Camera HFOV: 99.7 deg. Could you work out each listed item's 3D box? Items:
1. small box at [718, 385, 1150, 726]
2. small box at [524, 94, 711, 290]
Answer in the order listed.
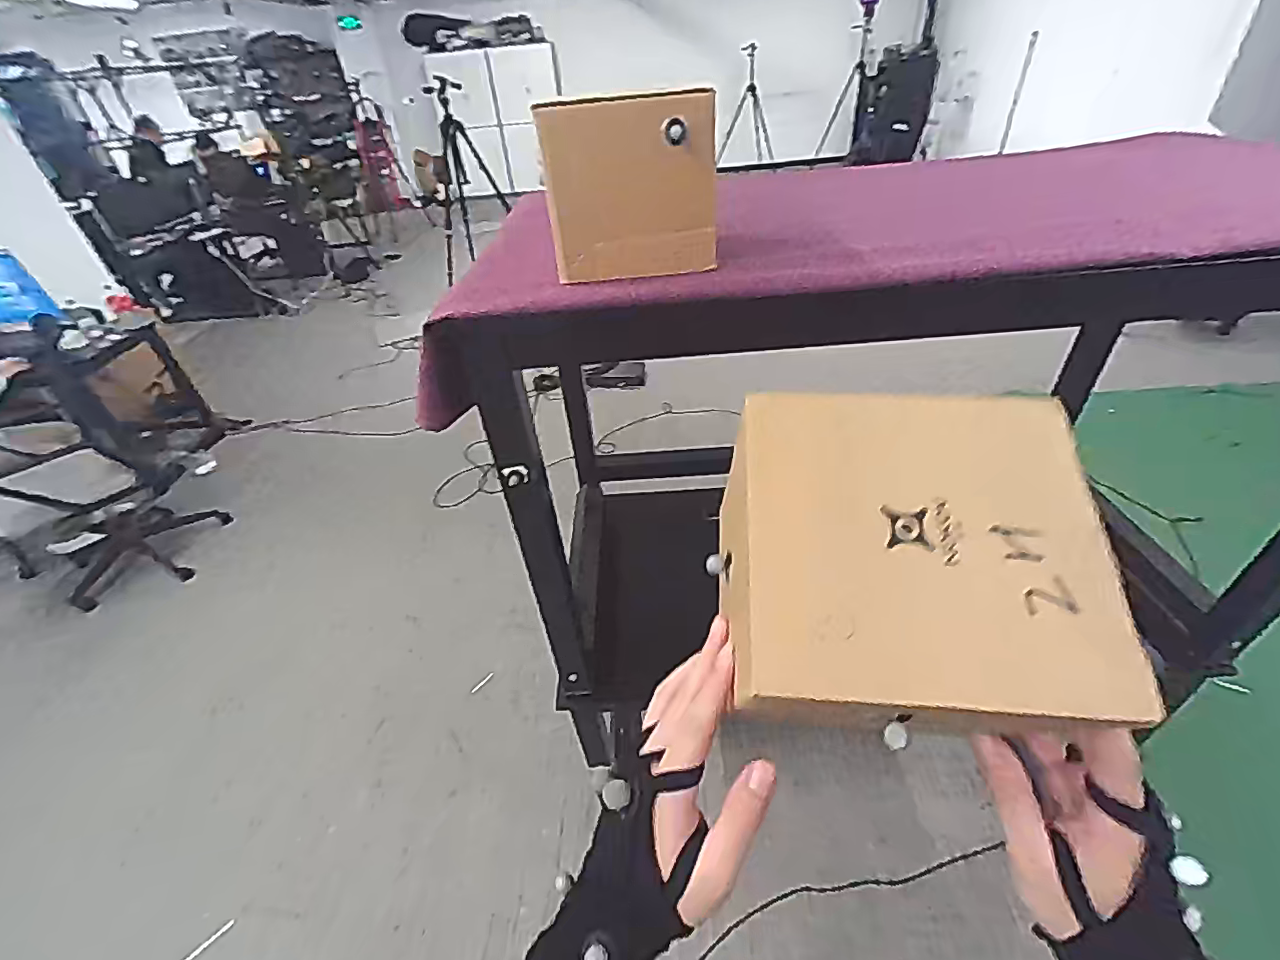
[{"bbox_3d":[0.141,0.057,0.340,0.179,0.176,0.168,2,65,5],"label":"small box"},{"bbox_3d":[-0.018,-0.325,0.613,0.179,0.176,0.168,-6,37,1],"label":"small box"}]
